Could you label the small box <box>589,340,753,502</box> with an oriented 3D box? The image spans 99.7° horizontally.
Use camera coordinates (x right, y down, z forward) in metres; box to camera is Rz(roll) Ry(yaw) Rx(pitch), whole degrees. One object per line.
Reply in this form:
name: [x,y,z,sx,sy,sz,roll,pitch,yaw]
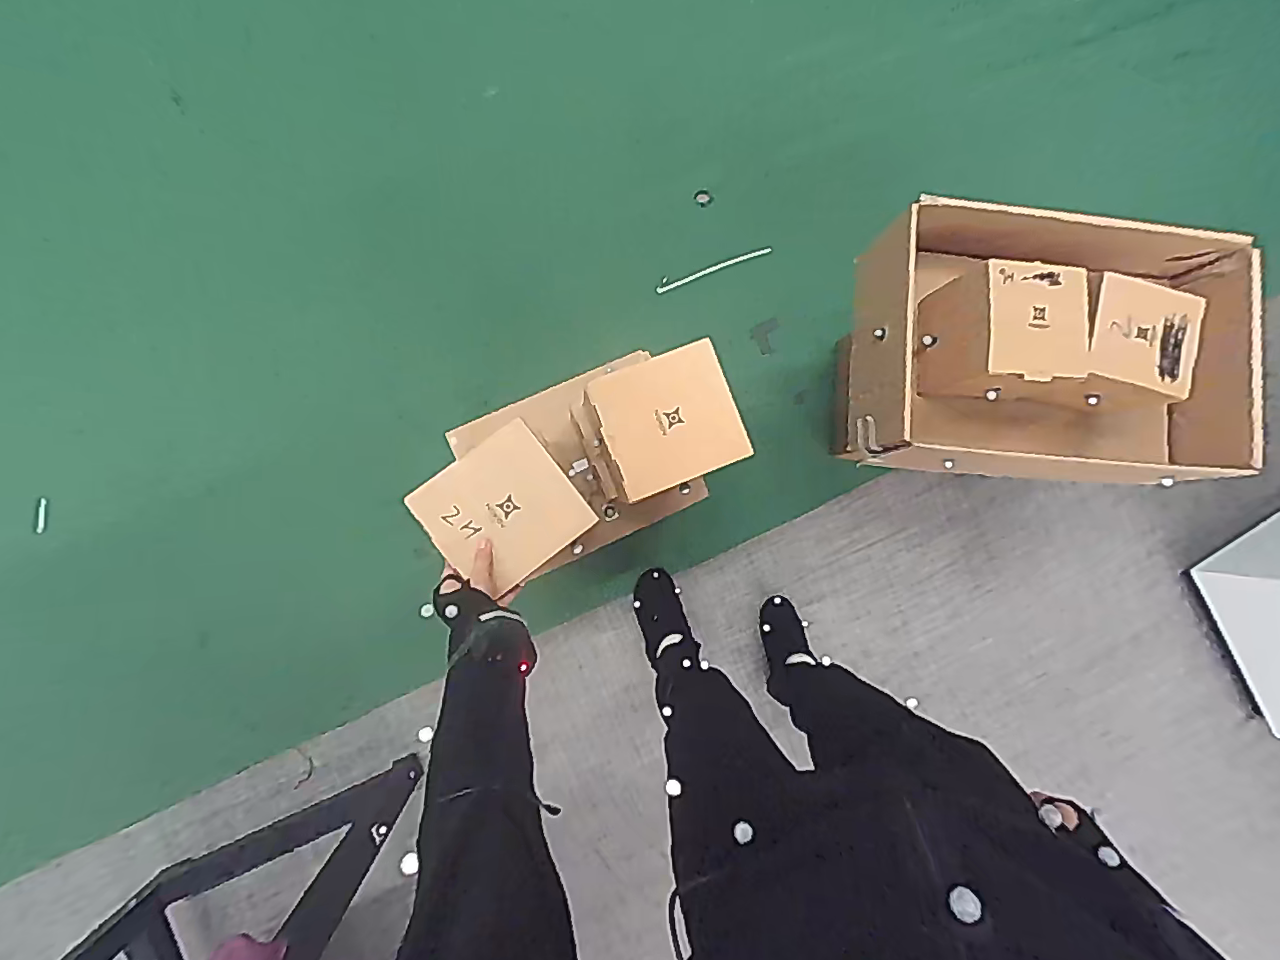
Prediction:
small box: [0.033,-0.077,0.774,0.179,0.176,0.168,-22,91,-5]
